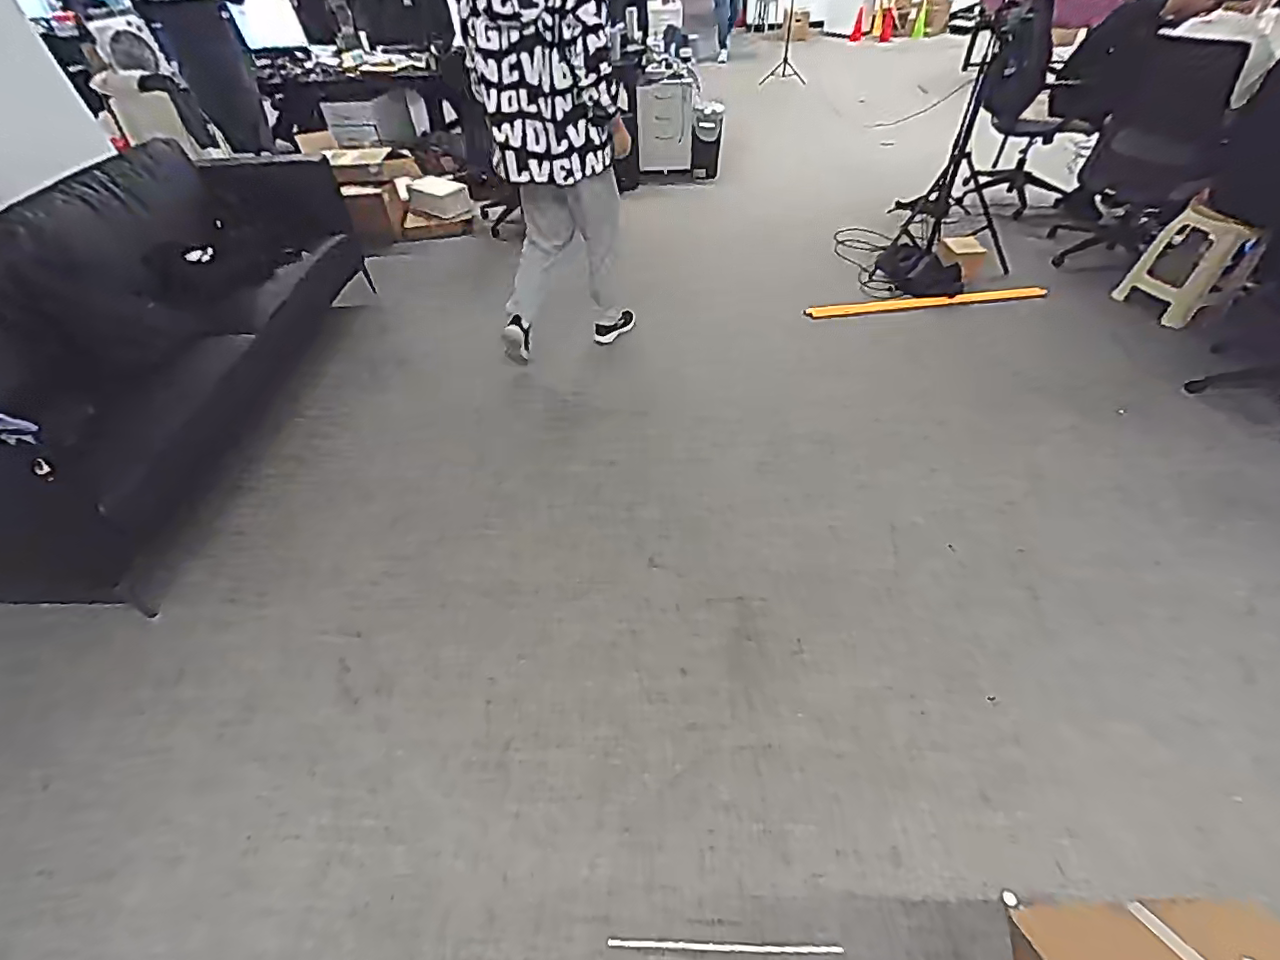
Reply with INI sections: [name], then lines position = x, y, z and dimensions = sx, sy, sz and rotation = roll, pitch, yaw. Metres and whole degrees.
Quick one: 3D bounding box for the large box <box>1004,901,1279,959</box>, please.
[large box]
position = 0.651, 0.718, 0.529
dimensions = 0.320, 0.408, 0.320
rotation = -6, 86, 6
